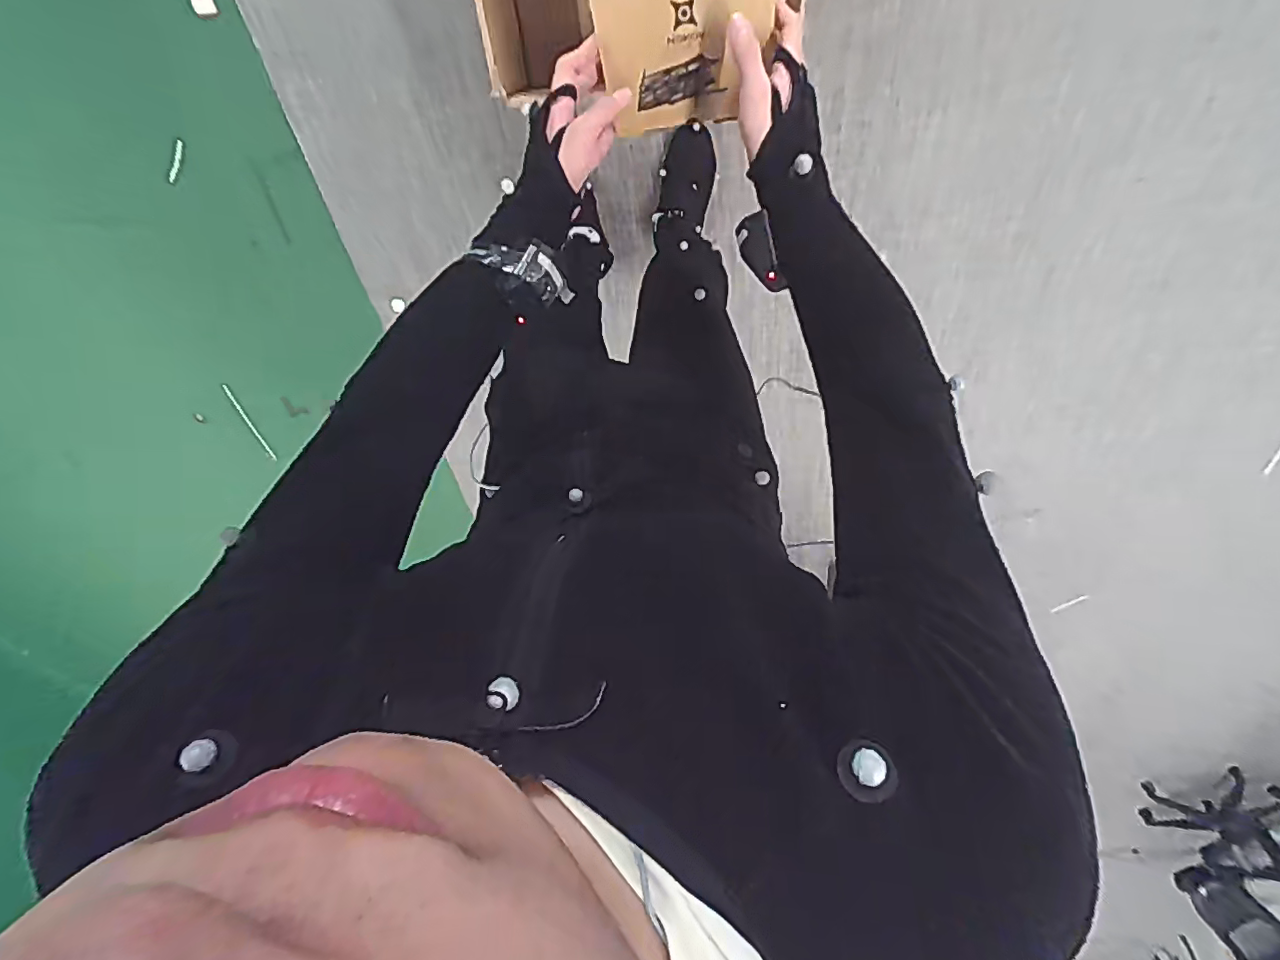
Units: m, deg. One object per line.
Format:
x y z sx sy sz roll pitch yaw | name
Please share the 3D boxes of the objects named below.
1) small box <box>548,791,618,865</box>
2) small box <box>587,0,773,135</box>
-0.185 1.167 1.818 0.179 0.176 0.168 -8 129 12 | small box
0.042 -0.482 0.530 0.168 0.176 0.179 -3 147 10 | small box
